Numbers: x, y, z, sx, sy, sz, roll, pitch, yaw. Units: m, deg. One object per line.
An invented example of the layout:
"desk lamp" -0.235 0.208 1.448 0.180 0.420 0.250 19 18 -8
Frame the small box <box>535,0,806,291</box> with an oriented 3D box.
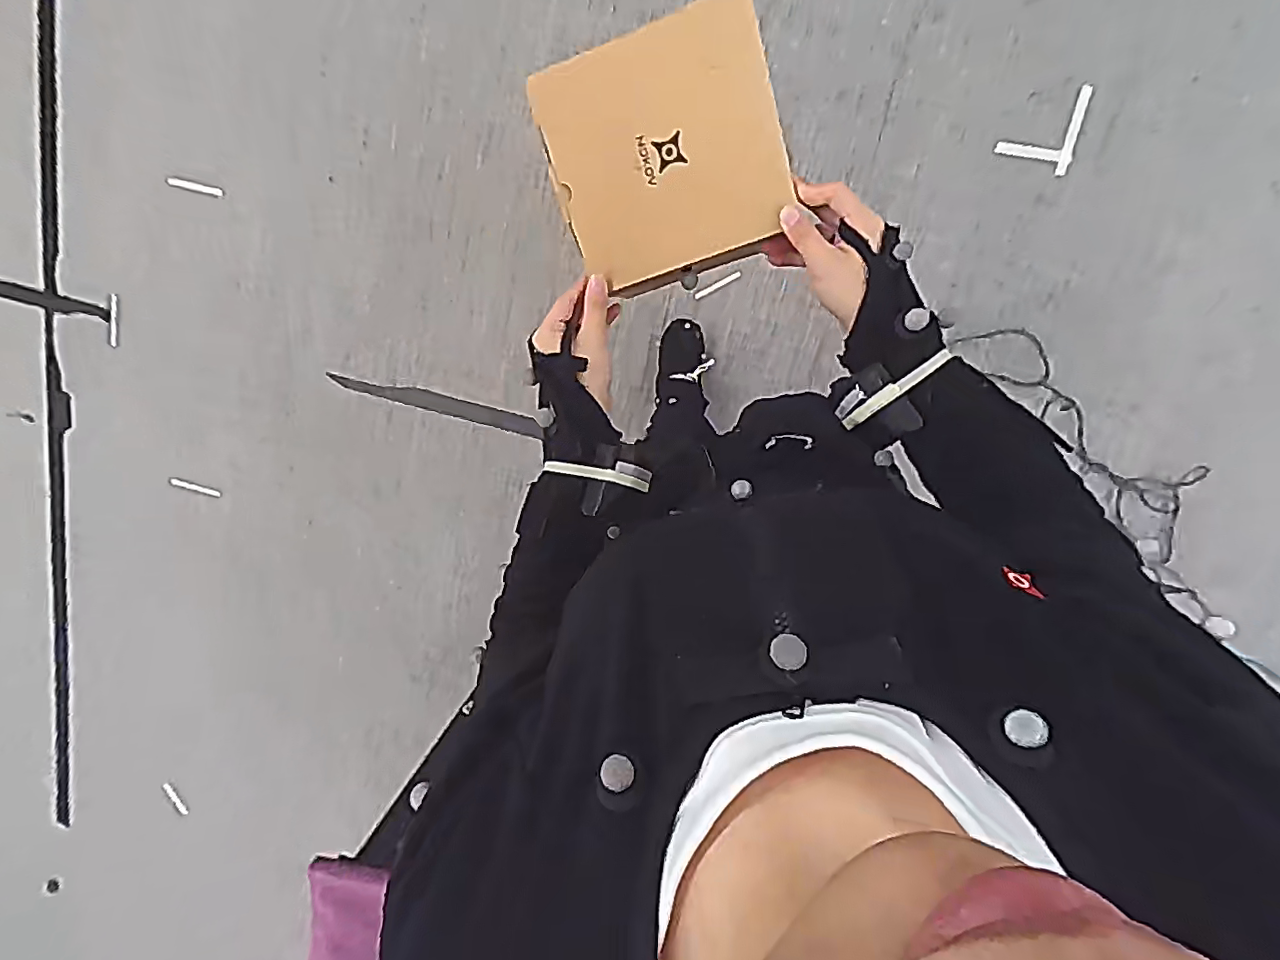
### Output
"small box" 0.034 -0.278 0.485 0.179 0.176 0.168 -14 105 13
